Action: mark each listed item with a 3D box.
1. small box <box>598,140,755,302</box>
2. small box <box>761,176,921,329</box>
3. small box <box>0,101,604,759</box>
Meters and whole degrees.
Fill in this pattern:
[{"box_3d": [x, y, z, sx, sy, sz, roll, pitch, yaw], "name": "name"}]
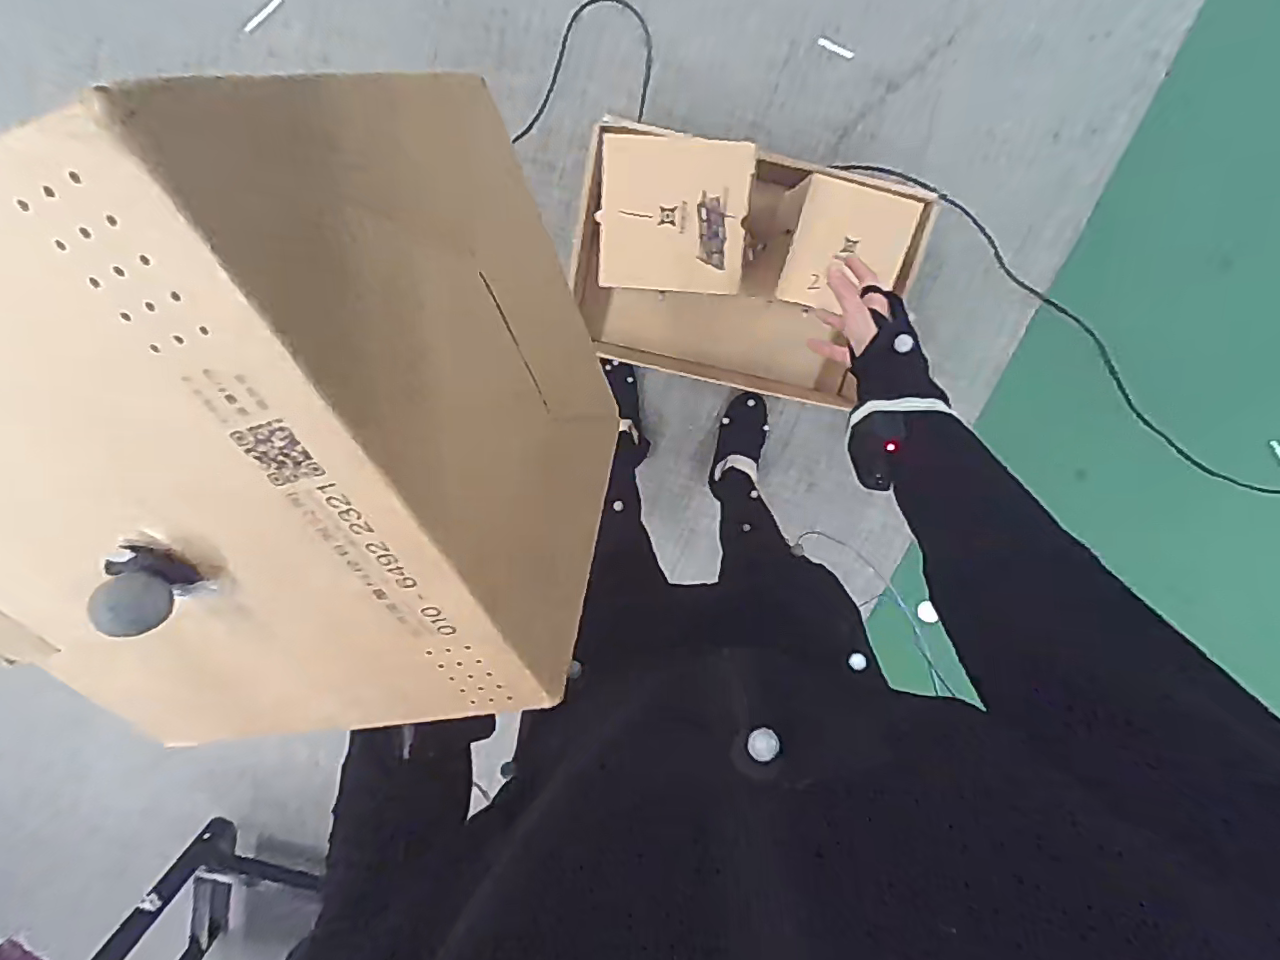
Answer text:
[{"box_3d": [0.041, -0.331, 0.712, 0.179, 0.176, 0.168, 4, 110, 0], "name": "small box"}, {"box_3d": [0.304, -0.355, 0.864, 0.168, 0.176, 0.179, 15, 110, -2], "name": "small box"}, {"box_3d": [-0.127, -0.021, 0.213, 0.176, 0.179, 0.168, -13, 126, 16], "name": "small box"}]
